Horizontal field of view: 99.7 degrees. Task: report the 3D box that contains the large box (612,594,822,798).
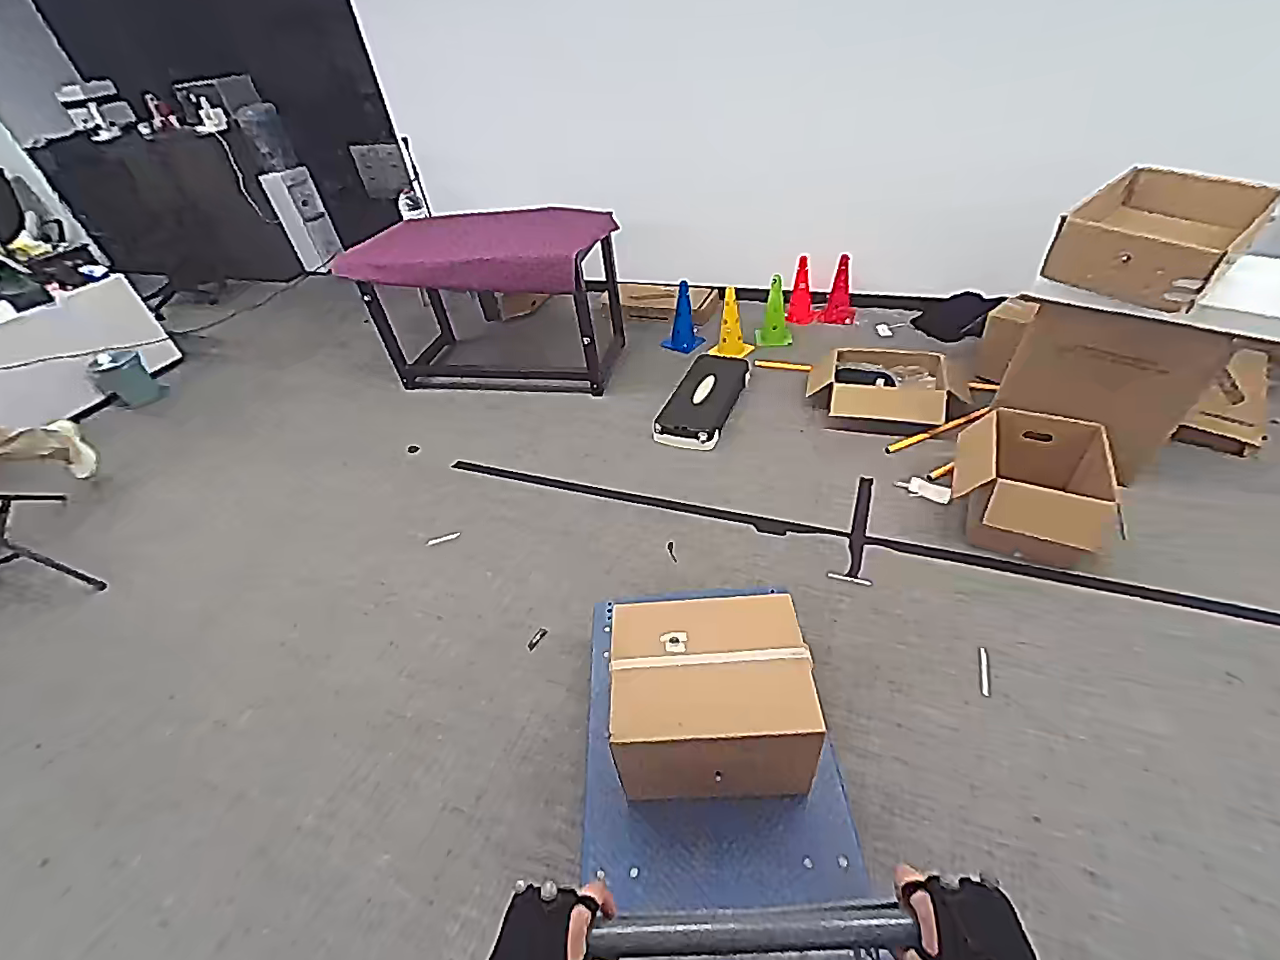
[{"bbox_3d":[0.158,0.491,1.225,0.408,0.320,0.320,-6,40,4],"label":"large box"}]
